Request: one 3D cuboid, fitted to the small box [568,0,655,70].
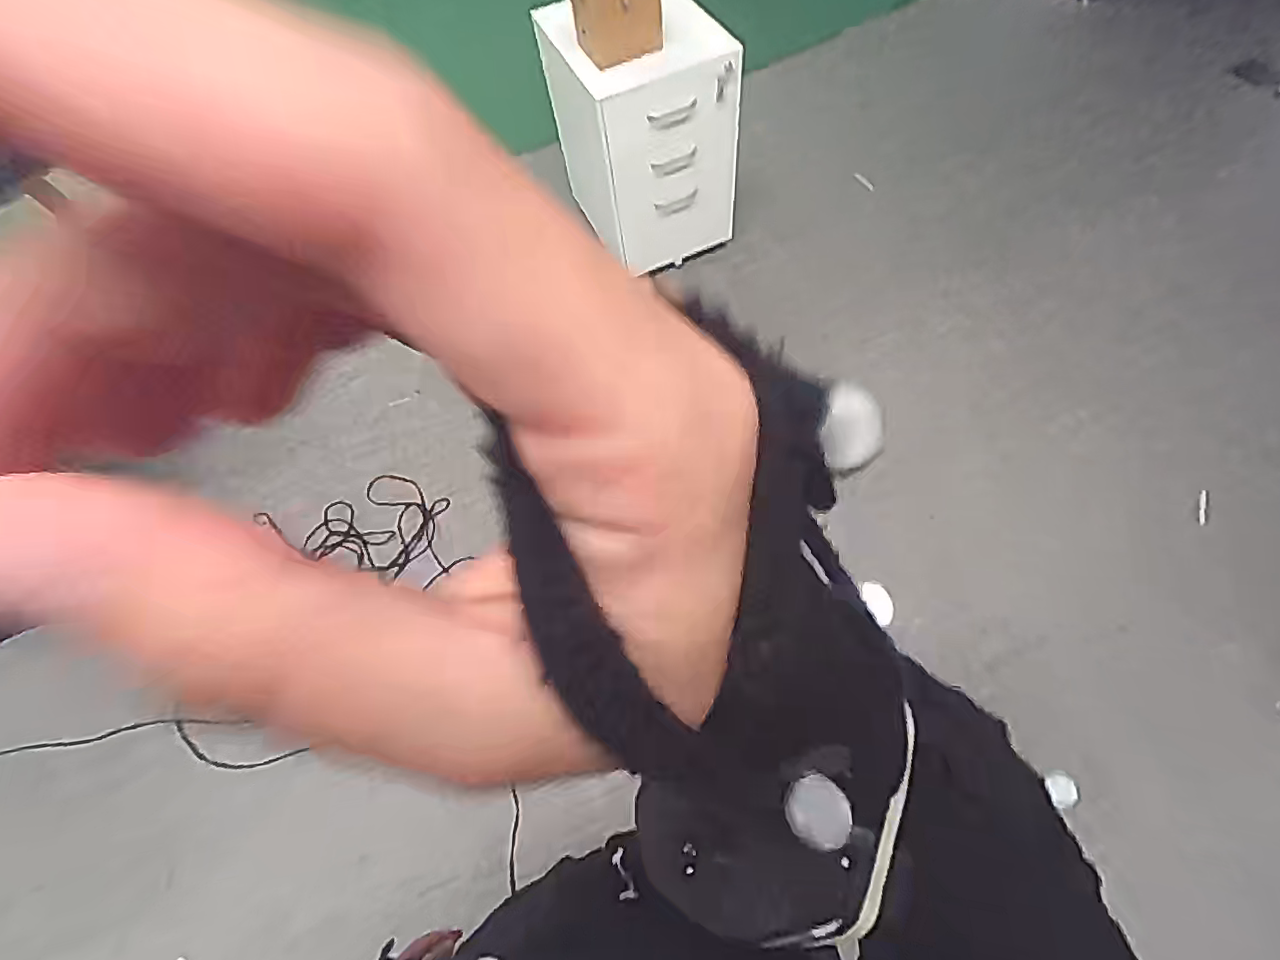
[{"bbox_3d":[-0.070,-1.140,1.305,0.179,0.176,0.168,-25,63,-6],"label":"small box"}]
